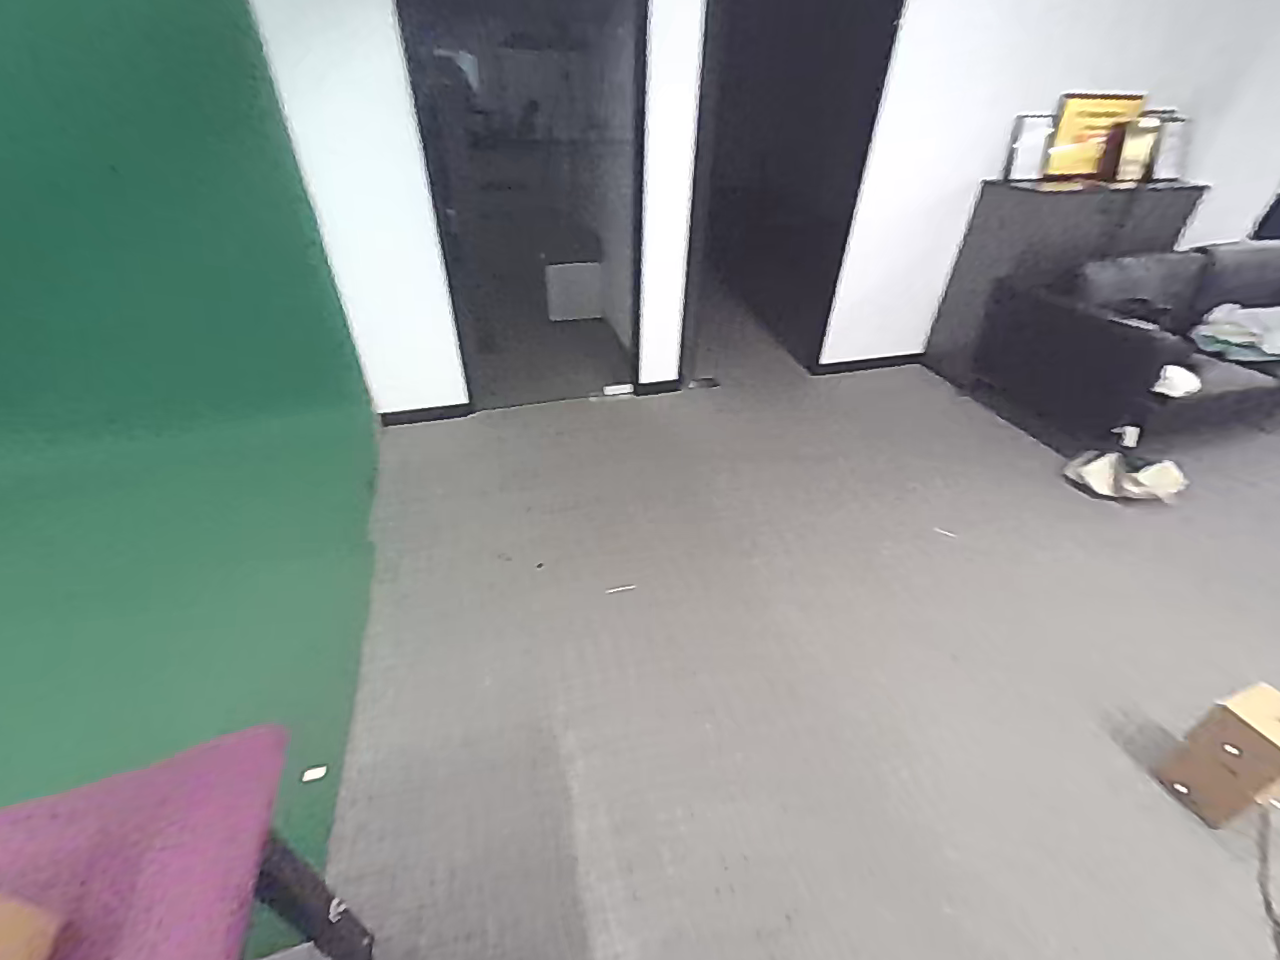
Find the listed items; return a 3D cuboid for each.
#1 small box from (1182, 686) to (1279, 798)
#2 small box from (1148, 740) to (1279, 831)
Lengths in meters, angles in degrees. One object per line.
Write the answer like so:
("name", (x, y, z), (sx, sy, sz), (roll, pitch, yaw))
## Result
("small box", (1.516, 0.650, 1.339), (0.179, 0.176, 0.168), (-10, 38, -16))
("small box", (1.519, 0.787, 1.430), (0.179, 0.176, 0.168), (-11, 38, -16))
